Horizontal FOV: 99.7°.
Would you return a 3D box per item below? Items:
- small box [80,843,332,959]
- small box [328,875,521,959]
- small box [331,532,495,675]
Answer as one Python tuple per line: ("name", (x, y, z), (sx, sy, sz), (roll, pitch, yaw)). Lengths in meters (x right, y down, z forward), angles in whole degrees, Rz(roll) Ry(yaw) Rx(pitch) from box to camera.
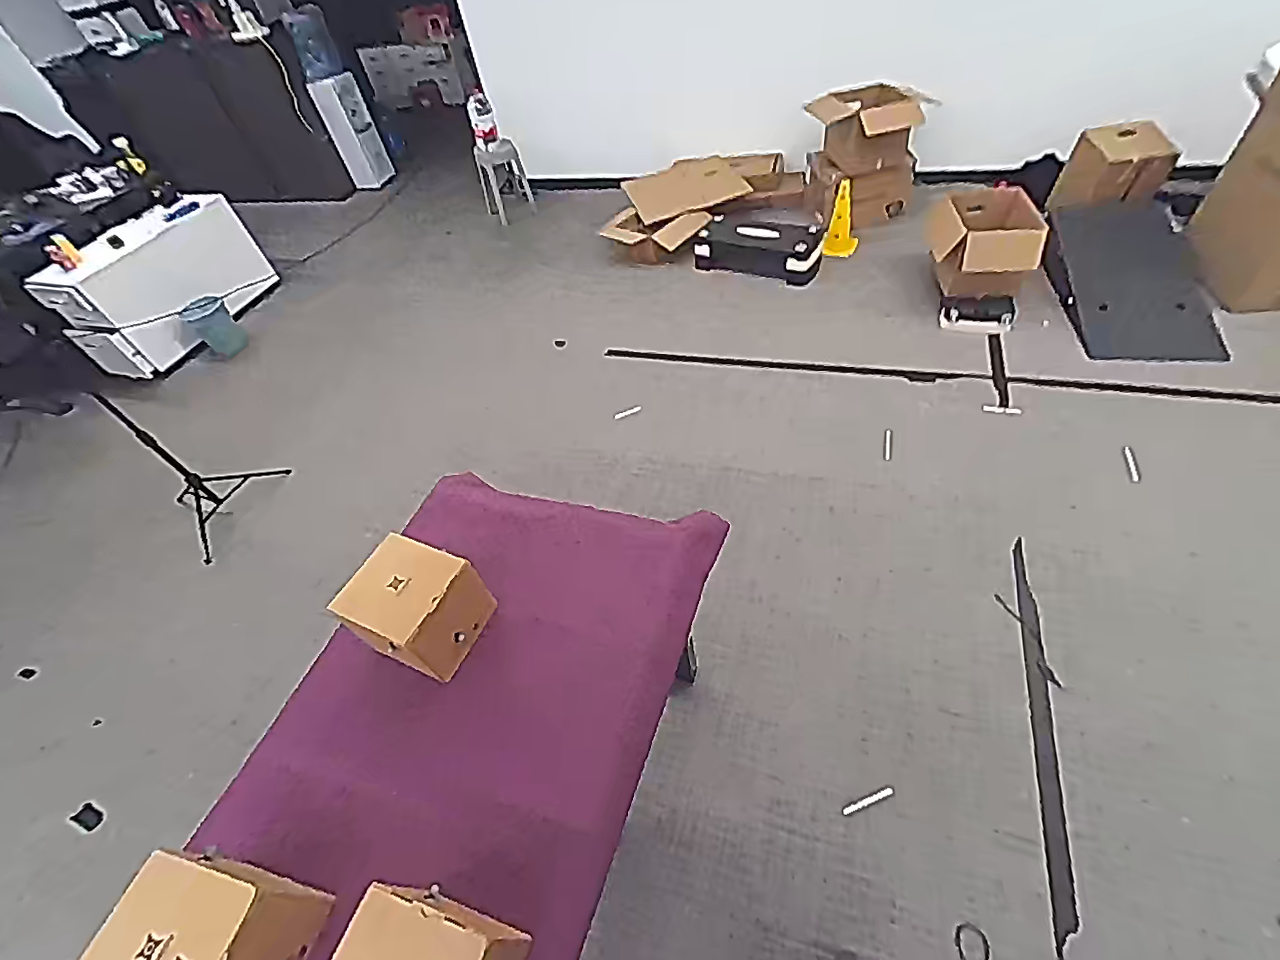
("small box", (-0.543, 0.587, 0.680), (0.179, 0.176, 0.168), (7, 51, 15))
("small box", (-0.255, 0.594, 0.620), (0.168, 0.176, 0.179), (9, 51, 18))
("small box", (-0.395, 0.224, 0.970), (0.179, 0.176, 0.168), (15, 54, 20))
